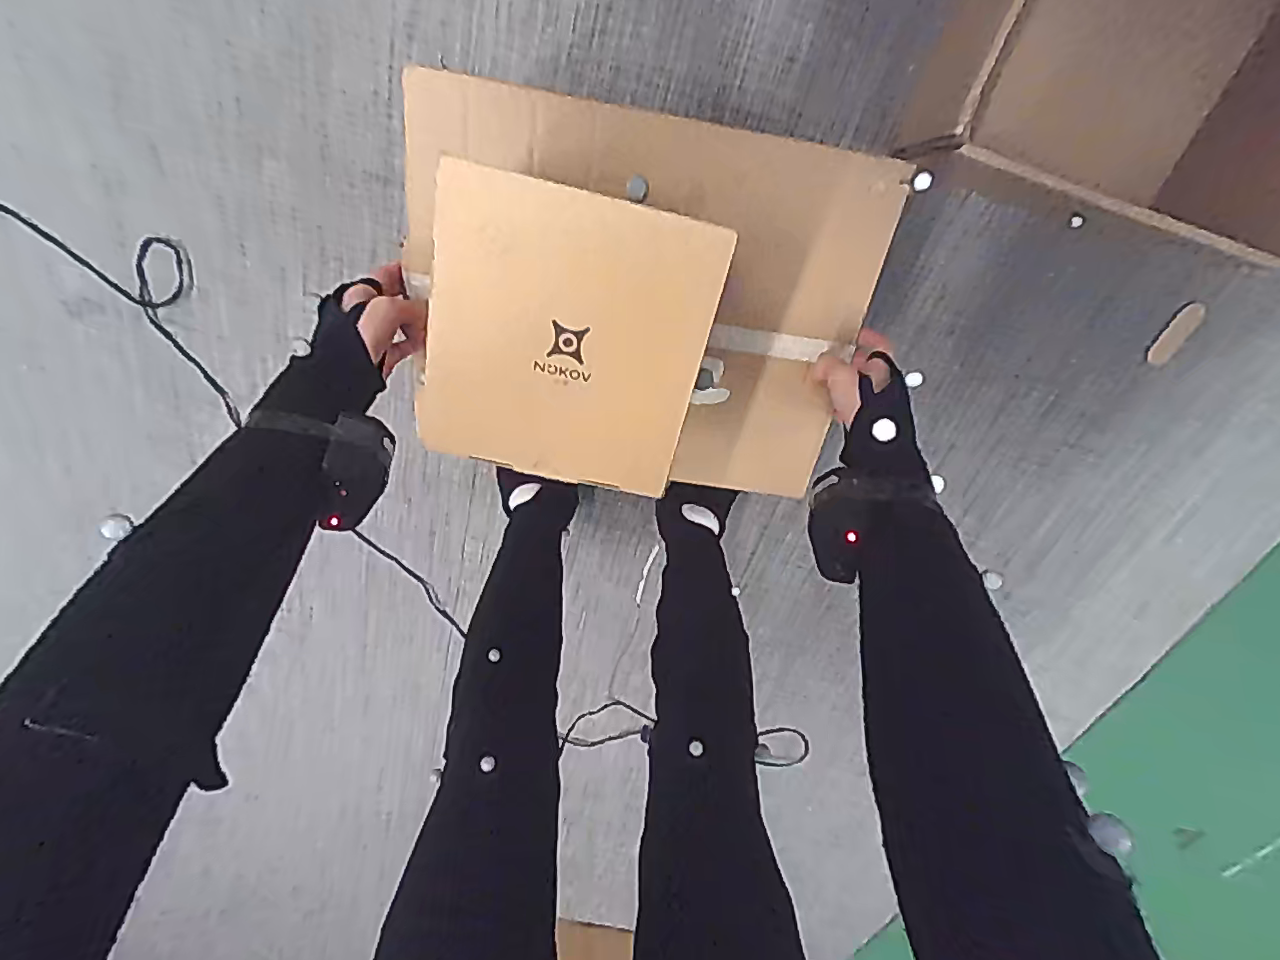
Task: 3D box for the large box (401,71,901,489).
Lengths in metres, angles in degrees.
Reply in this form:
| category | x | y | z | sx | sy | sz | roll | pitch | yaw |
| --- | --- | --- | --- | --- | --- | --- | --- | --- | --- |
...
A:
| category | x | y | z | sx | sy | sz | roll | pitch | yaw |
| --- | --- | --- | --- | --- | --- | --- | --- | --- | --- |
| large box | -0.009 | -0.214 | 0.618 | 0.408 | 0.320 | 0.320 | 8 | 117 | -5 |
